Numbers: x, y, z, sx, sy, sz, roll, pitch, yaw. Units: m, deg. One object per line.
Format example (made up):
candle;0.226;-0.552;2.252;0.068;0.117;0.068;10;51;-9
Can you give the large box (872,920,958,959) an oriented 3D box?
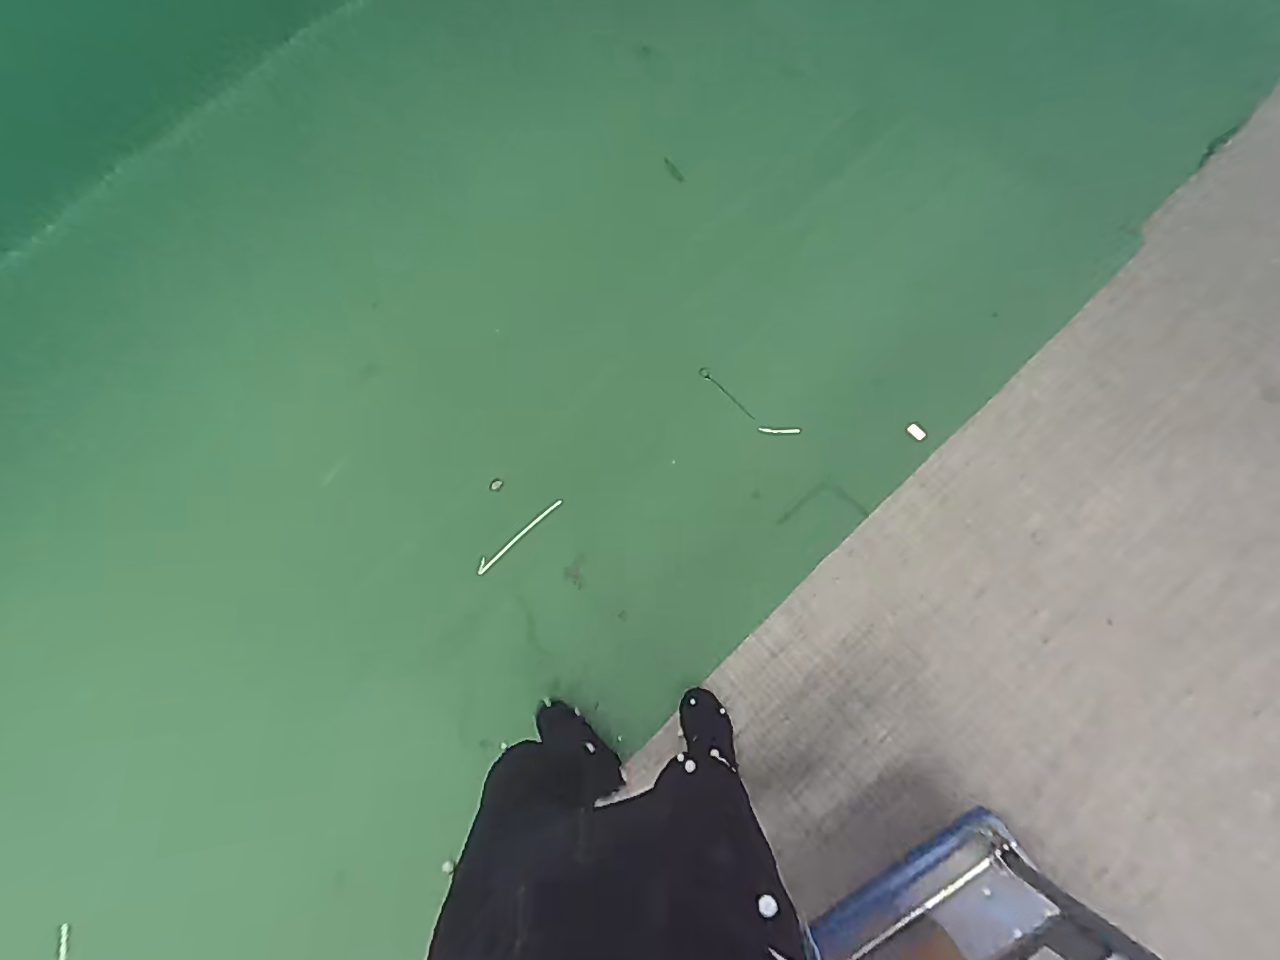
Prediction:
large box;0.534;1.056;0.858;0.320;0.320;0.408;-35;73;-3
